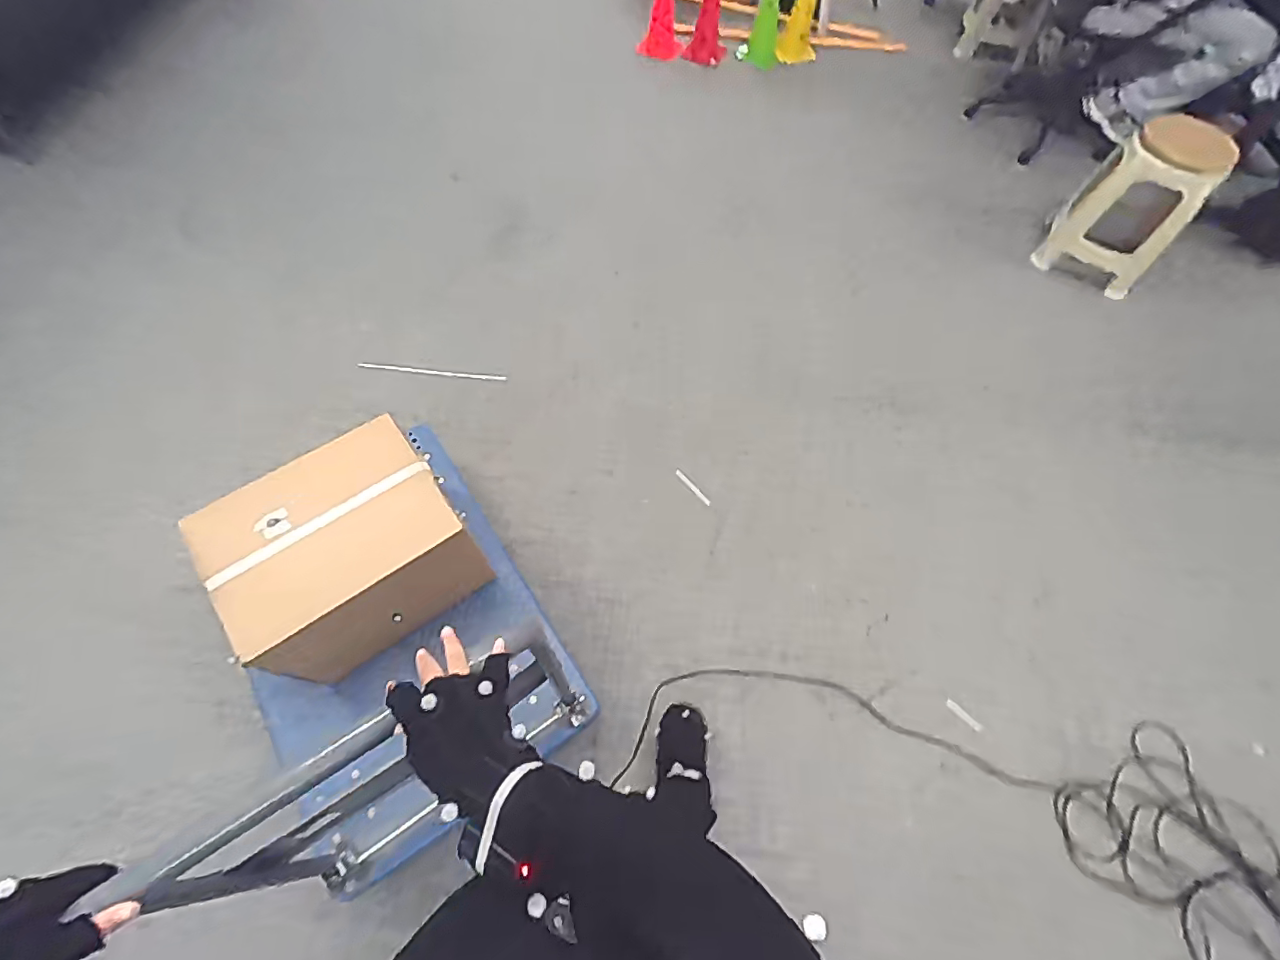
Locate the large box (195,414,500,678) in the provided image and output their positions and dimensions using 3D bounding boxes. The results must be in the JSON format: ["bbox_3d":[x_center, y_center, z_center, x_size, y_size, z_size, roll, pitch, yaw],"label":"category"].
[{"bbox_3d":[-0.562,0.144,1.116,0.408,0.320,0.320,-34,69,-17],"label":"large box"}]
